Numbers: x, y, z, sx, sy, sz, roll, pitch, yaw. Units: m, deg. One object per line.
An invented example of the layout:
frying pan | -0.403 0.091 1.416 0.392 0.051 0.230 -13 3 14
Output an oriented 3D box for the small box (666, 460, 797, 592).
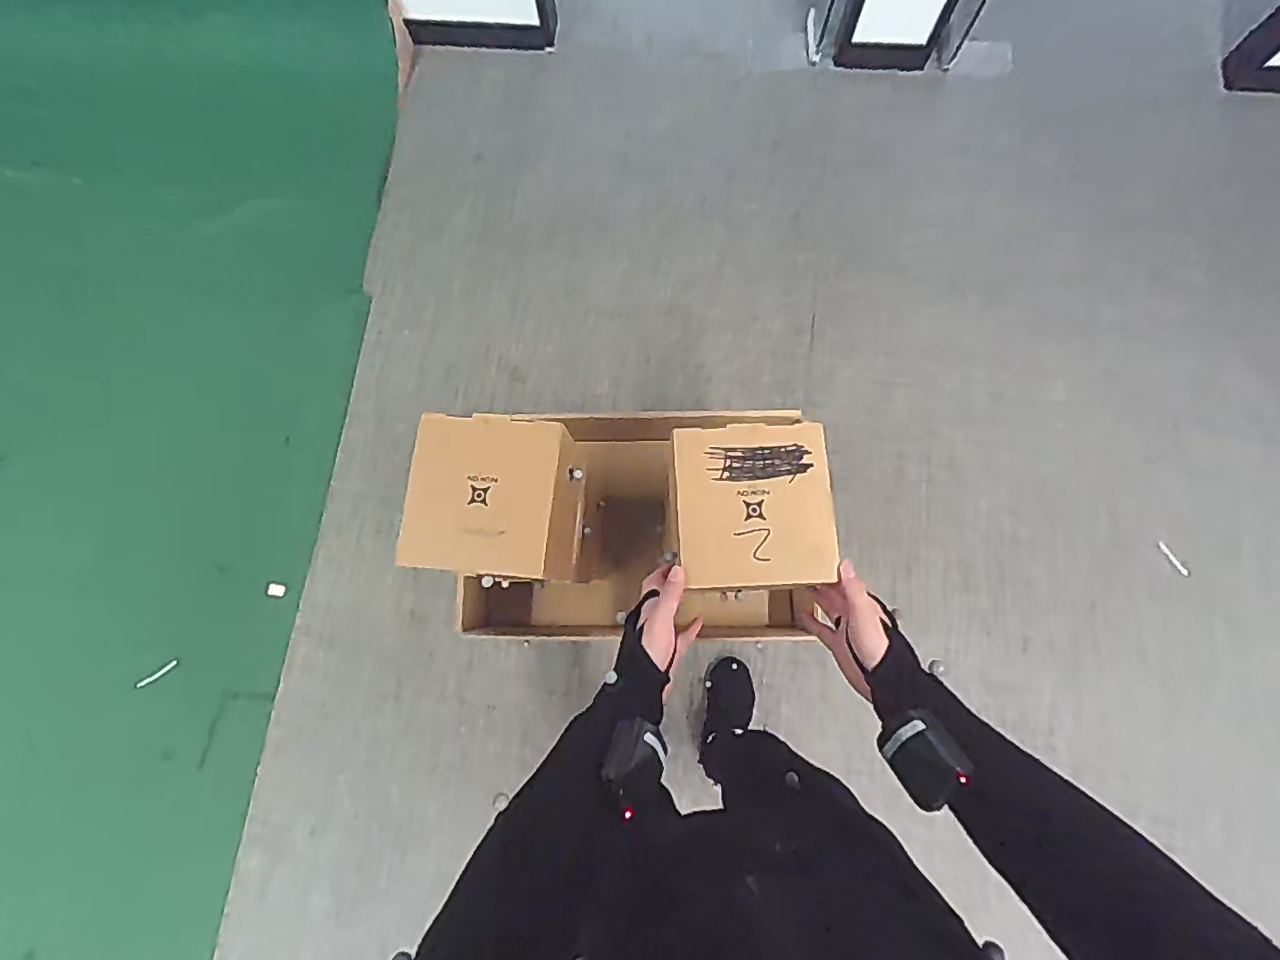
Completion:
small box | 0.126 0.074 0.802 0.168 0.176 0.179 -2 78 0

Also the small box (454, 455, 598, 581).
small box | -0.160 0.059 0.818 0.168 0.176 0.179 4 78 3

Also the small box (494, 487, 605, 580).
small box | -0.154 0.091 0.978 0.168 0.176 0.179 0 78 3

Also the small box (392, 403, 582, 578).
small box | -0.169 0.022 0.659 0.168 0.176 0.179 5 79 4
